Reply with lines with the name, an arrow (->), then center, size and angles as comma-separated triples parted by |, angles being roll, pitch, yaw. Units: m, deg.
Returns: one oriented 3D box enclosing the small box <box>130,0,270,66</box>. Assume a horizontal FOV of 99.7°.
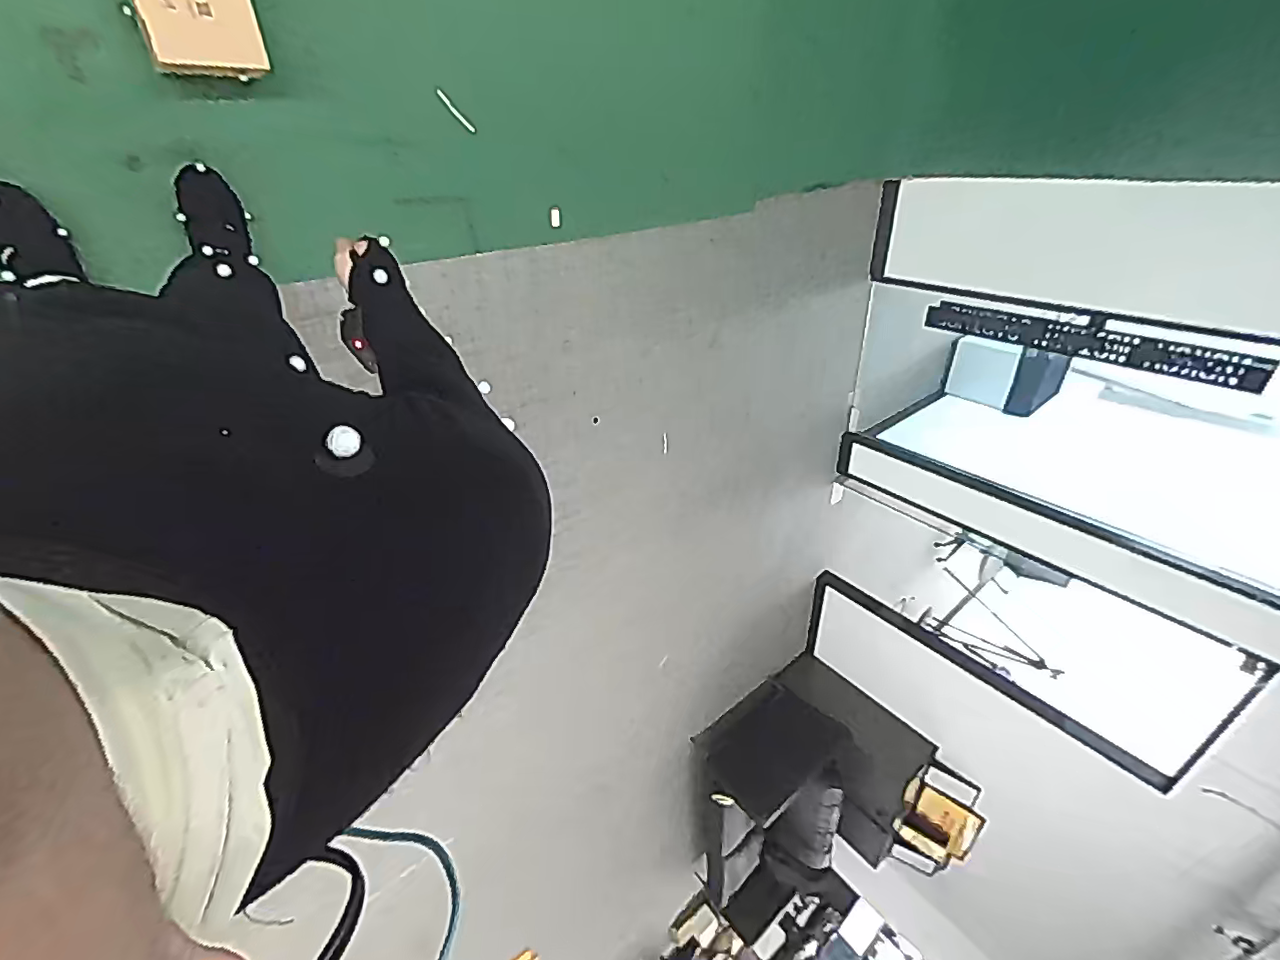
small box -> -0.821, -0.875, 0.992 | 0.179, 0.176, 0.168 | -23, 128, -32
